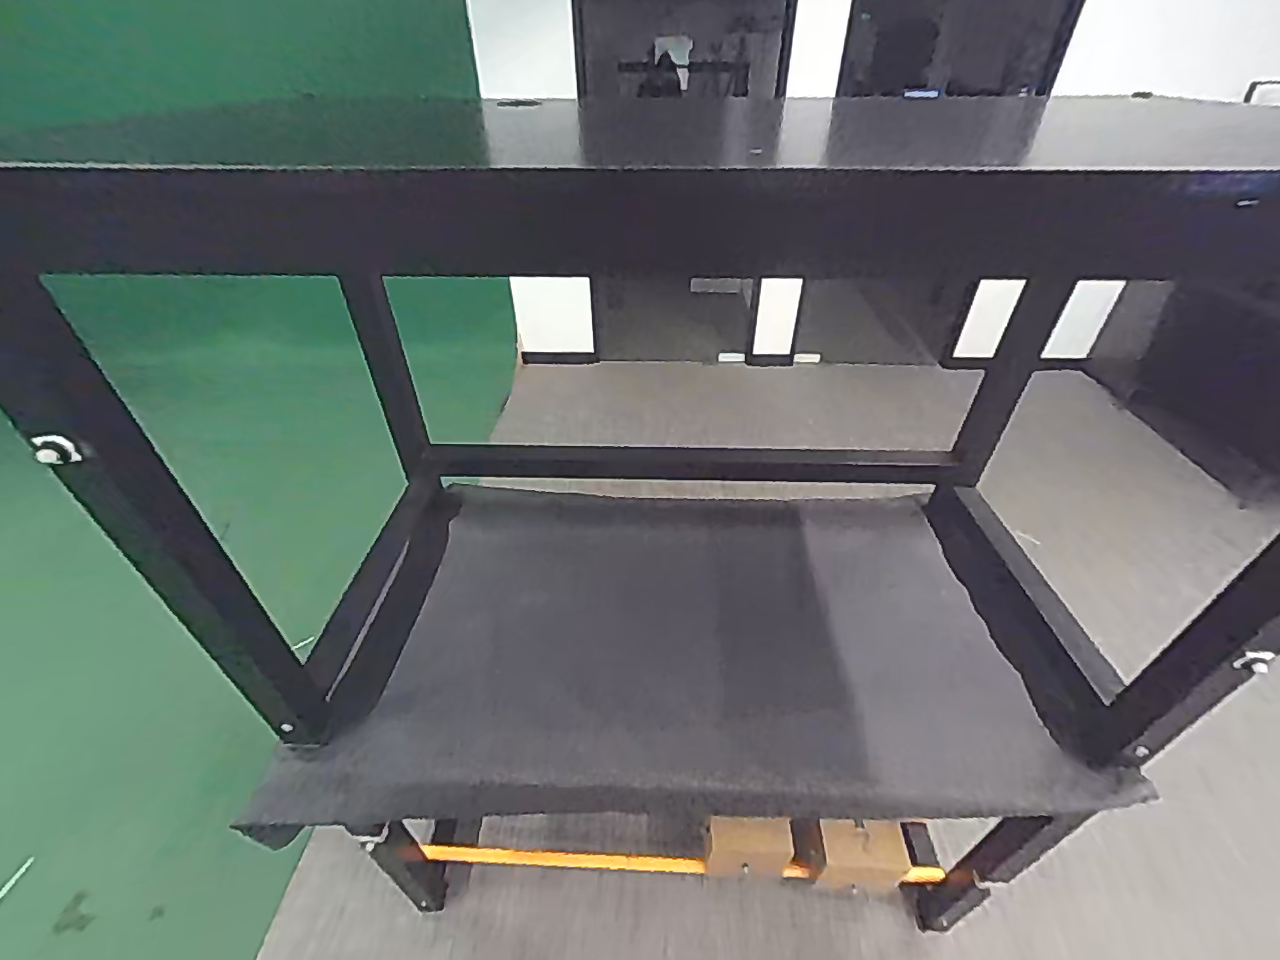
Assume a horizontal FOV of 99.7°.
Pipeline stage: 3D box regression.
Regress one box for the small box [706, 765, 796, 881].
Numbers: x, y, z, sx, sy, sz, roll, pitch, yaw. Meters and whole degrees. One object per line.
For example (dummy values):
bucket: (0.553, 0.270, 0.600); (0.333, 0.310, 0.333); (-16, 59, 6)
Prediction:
small box: (0.233, 0.750, 1.181); (0.168, 0.176, 0.179); (0, 39, 2)
